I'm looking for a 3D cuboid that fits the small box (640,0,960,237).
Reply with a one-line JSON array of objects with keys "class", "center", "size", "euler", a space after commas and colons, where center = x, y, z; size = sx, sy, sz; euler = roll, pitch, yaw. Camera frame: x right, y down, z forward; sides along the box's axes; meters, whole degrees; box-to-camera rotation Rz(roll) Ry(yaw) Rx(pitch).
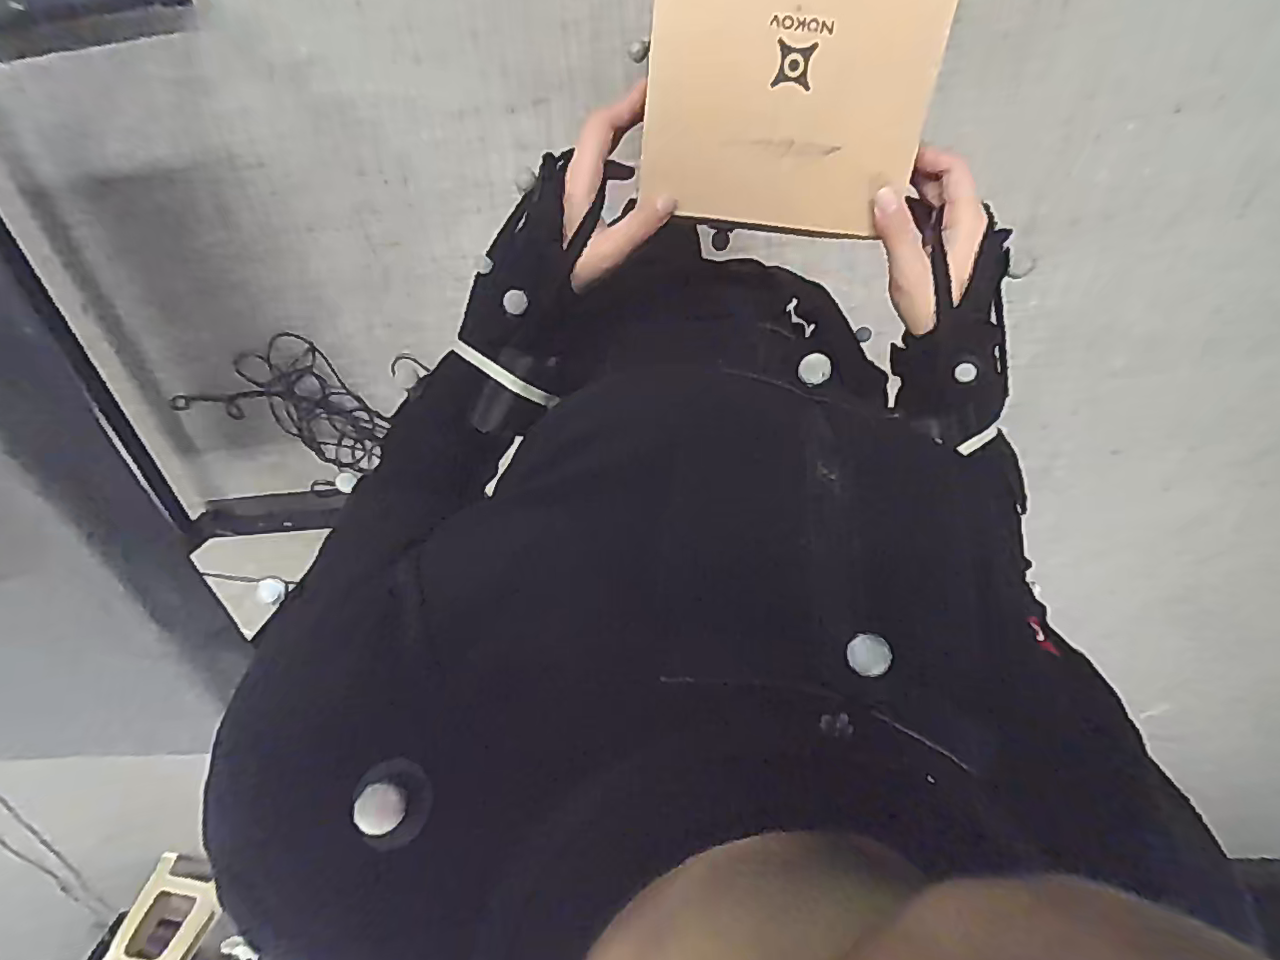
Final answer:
[{"class": "small box", "center": [0.090, -0.274, 0.377], "size": [0.168, 0.176, 0.179], "euler": [6, 115, -1]}]
